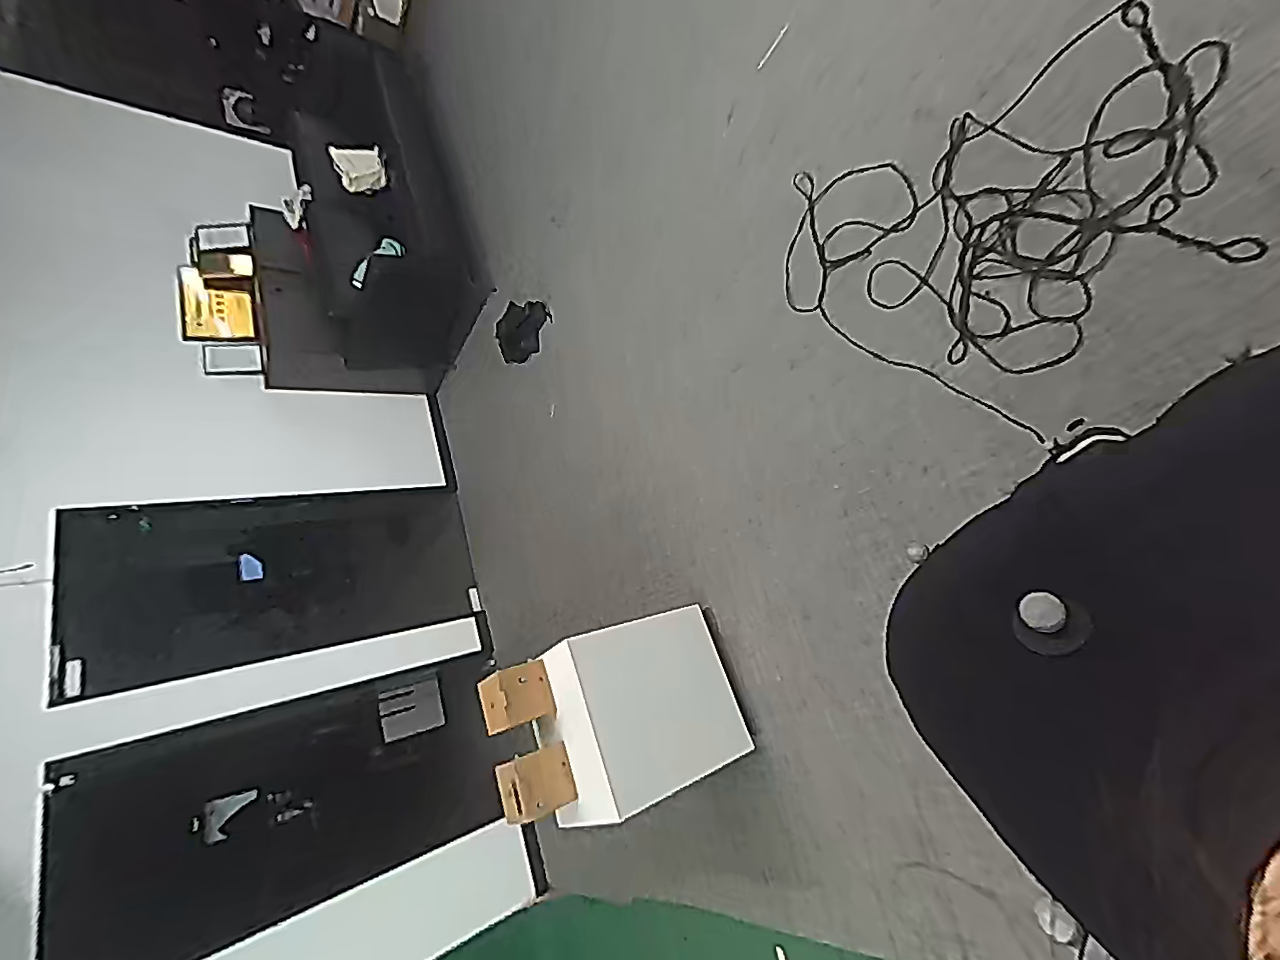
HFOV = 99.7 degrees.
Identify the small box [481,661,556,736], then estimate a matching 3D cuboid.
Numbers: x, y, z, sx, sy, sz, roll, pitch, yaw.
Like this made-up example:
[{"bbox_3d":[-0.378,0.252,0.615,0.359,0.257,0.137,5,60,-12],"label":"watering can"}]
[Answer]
[{"bbox_3d":[-0.383,0.693,1.723,0.179,0.176,0.168,-44,59,45],"label":"small box"}]
